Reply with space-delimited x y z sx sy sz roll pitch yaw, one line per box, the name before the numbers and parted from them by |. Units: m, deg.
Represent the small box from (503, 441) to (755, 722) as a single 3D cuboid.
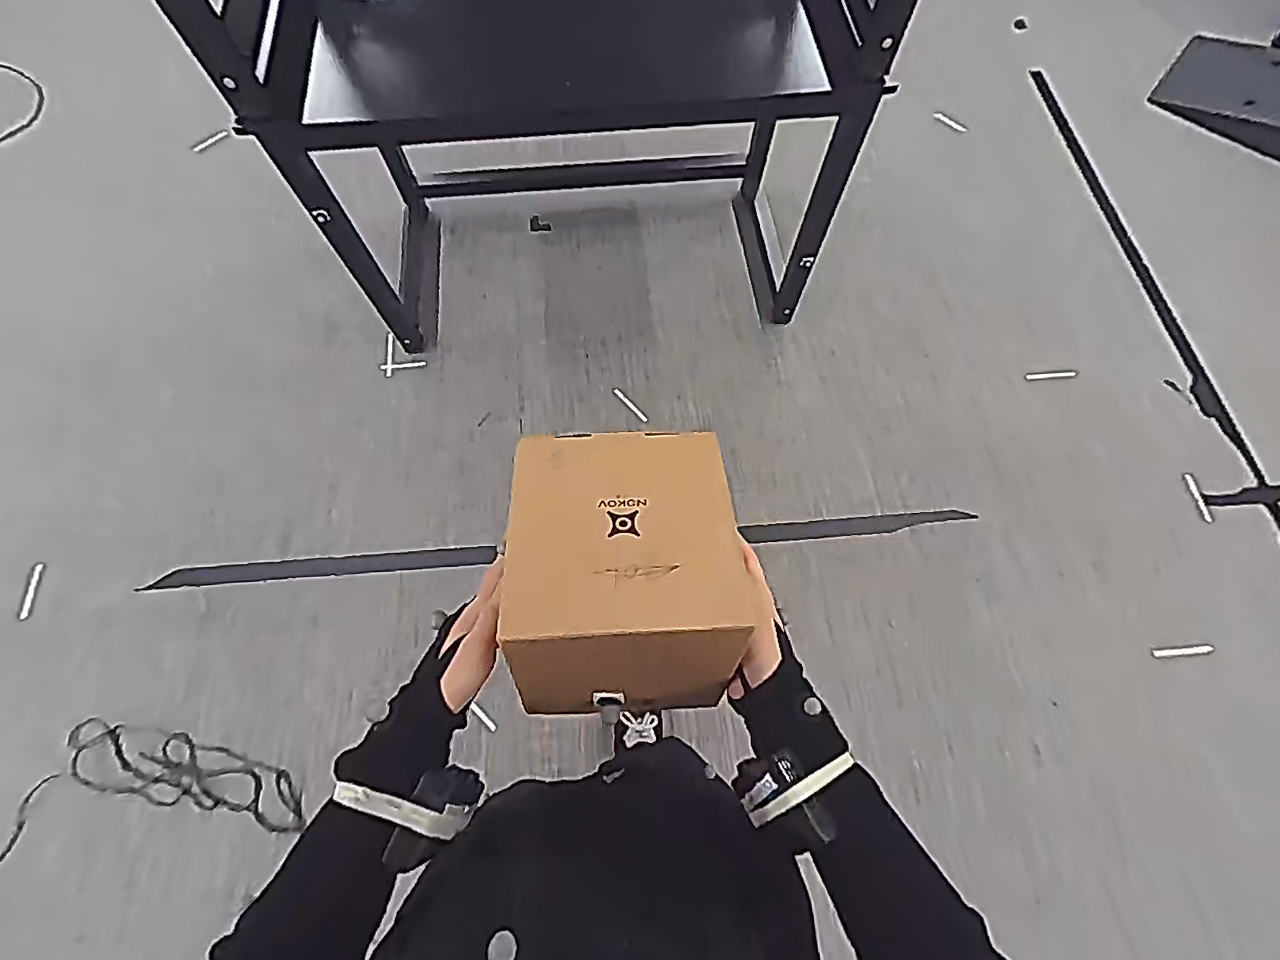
small box | -0.015 0.087 0.460 0.168 0.176 0.179 -3 51 -4
